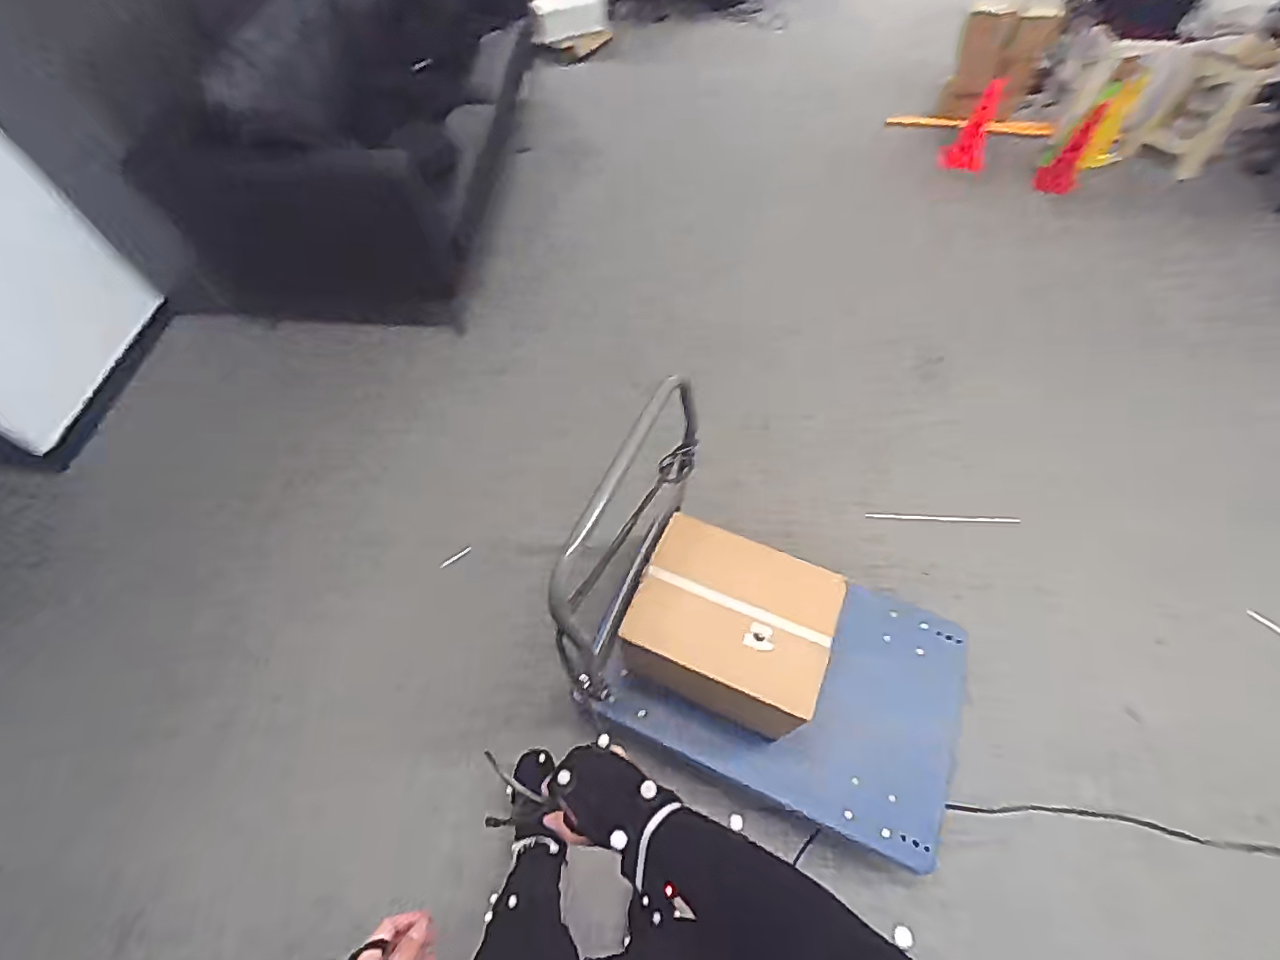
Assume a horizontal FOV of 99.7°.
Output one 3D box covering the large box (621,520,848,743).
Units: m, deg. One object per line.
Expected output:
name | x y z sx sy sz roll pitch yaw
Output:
large box | 0.200 0.351 1.241 0.408 0.320 0.320 21 62 13
